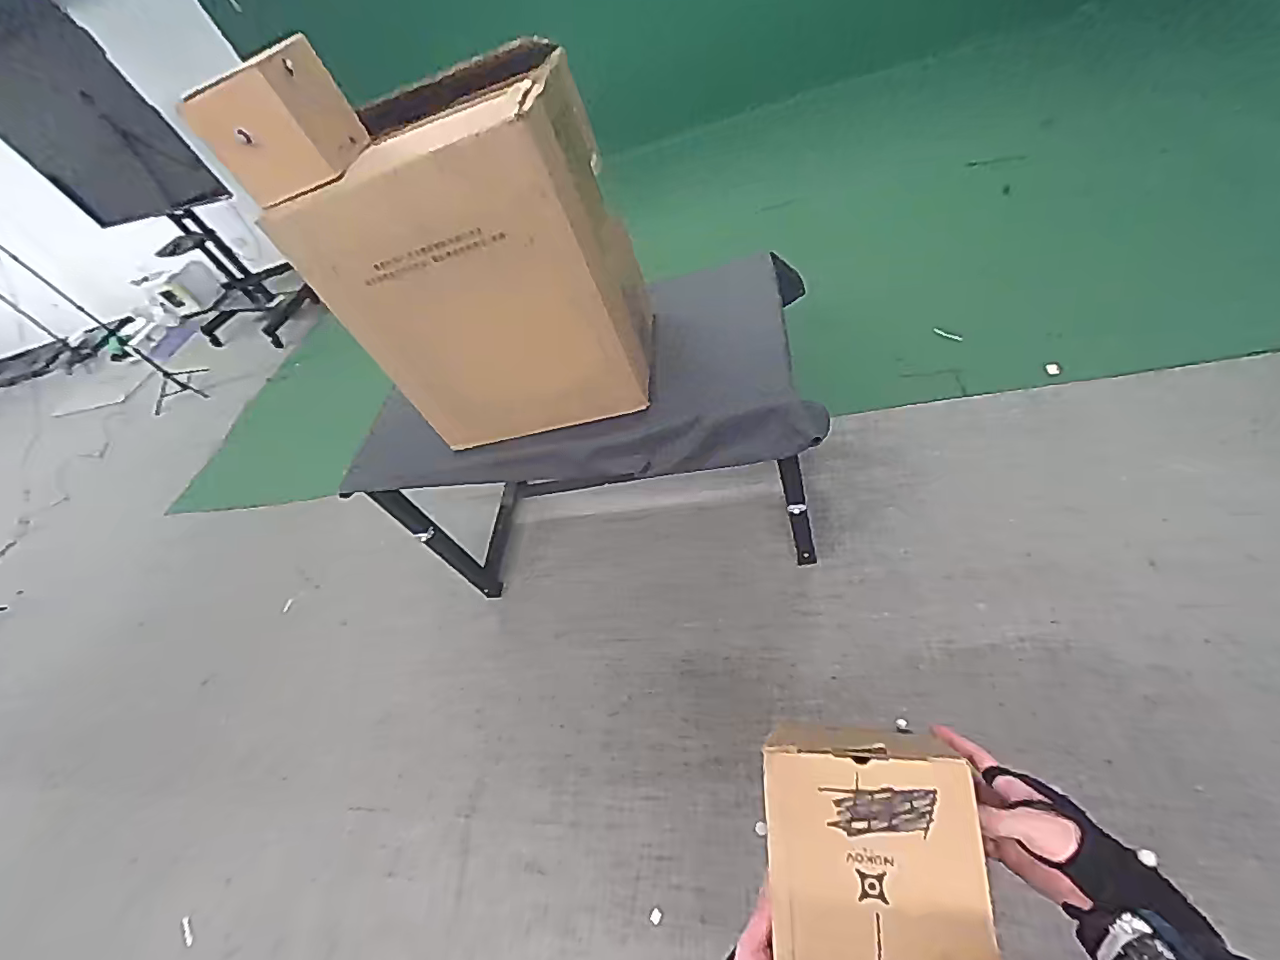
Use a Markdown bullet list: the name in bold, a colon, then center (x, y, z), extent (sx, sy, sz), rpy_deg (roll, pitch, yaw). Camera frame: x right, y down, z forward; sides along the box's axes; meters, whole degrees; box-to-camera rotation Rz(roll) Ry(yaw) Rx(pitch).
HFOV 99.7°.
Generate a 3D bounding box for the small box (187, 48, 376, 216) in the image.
- **small box**: center (-0.602, -0.589, 0.931), extent (0.179, 0.176, 0.168), rpy_deg (-12, 50, 18)
